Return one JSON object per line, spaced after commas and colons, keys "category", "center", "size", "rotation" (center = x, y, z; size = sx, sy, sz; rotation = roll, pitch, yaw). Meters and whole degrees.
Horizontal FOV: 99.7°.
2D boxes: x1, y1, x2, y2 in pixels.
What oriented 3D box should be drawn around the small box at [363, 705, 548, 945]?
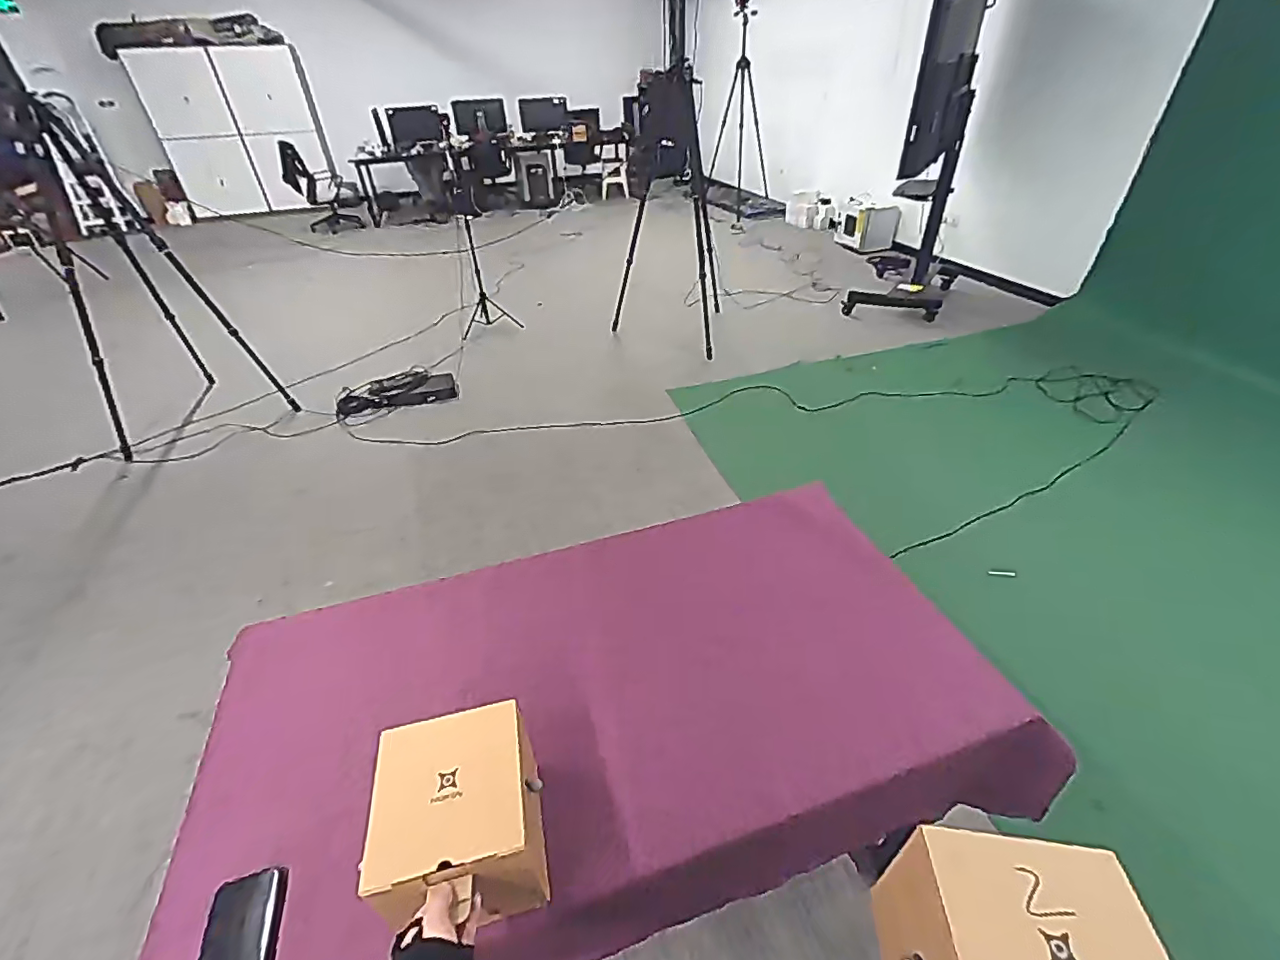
{"category": "small box", "center": [-0.209, 0.410, 0.653], "size": [0.168, 0.176, 0.179], "rotation": [-10, 37, -10]}
